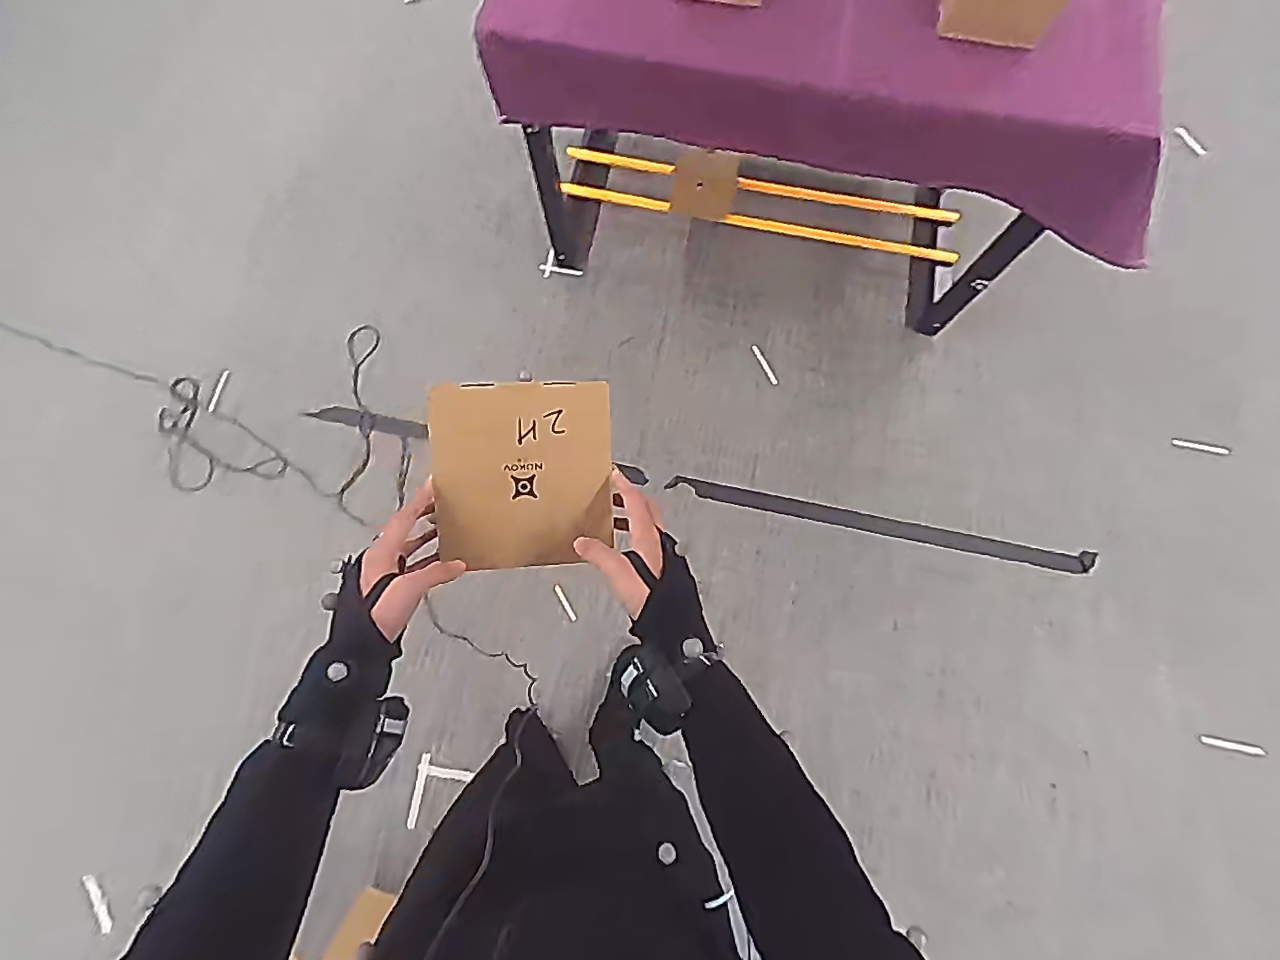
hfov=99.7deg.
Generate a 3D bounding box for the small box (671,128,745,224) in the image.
[{"bbox_3d":[0.192,-0.866,1.553,0.179,0.176,0.168,9,77,3],"label":"small box"}]

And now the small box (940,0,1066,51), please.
[{"bbox_3d":[0.637,-0.875,0.915,0.179,0.176,0.168,11,77,3],"label":"small box"}]

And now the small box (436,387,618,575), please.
[{"bbox_3d":[-0.113,-0.010,0.583,0.168,0.176,0.179,-2,98,-9],"label":"small box"}]
